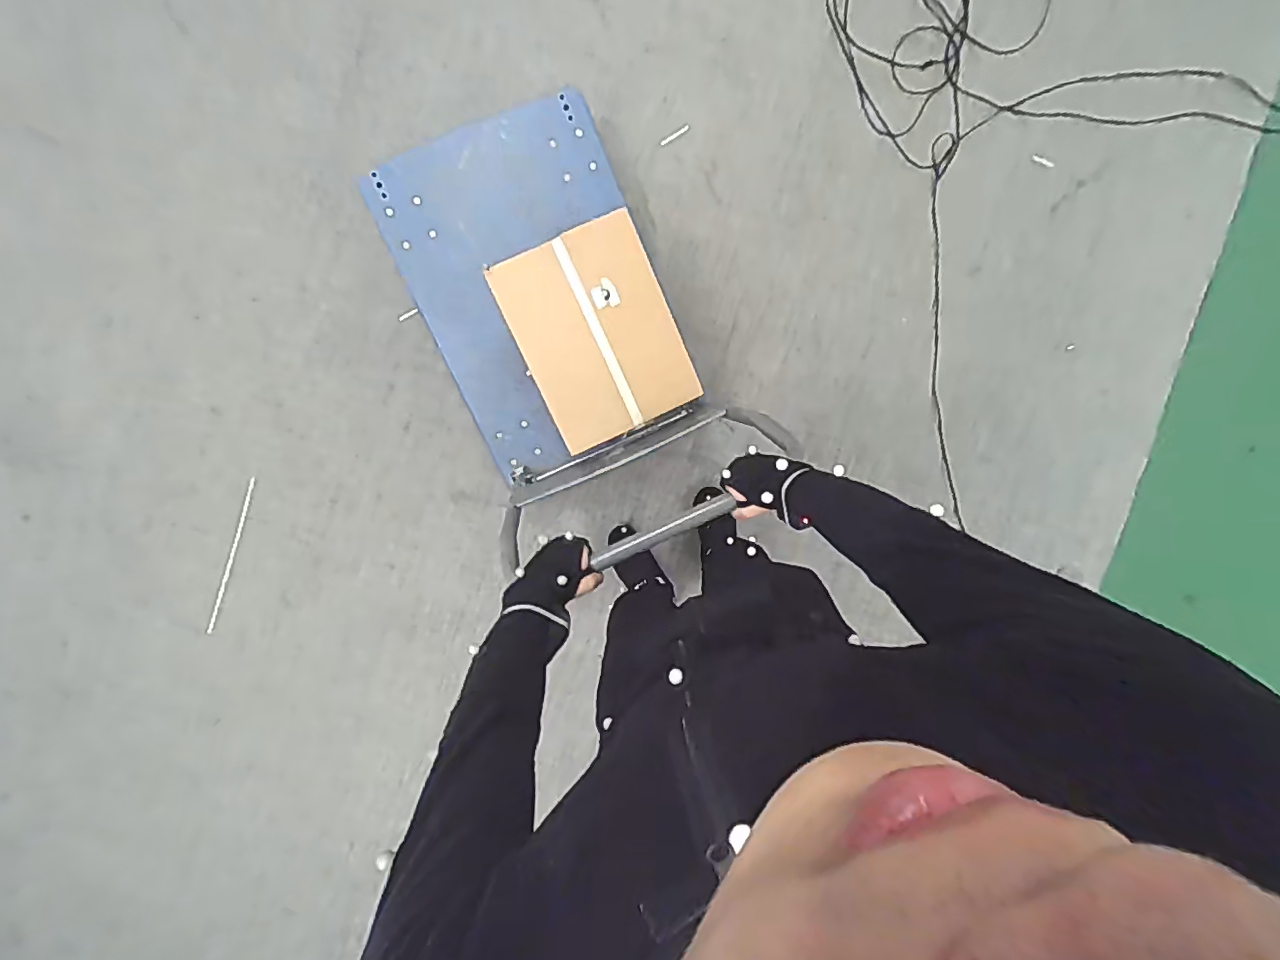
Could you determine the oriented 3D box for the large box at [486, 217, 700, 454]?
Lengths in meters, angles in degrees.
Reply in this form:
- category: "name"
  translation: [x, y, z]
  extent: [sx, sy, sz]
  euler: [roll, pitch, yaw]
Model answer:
- category: "large box"
  translation: [-0.106, -0.315, 1.264]
  extent: [0.320, 0.320, 0.408]
  euler: [-26, 101, -4]
